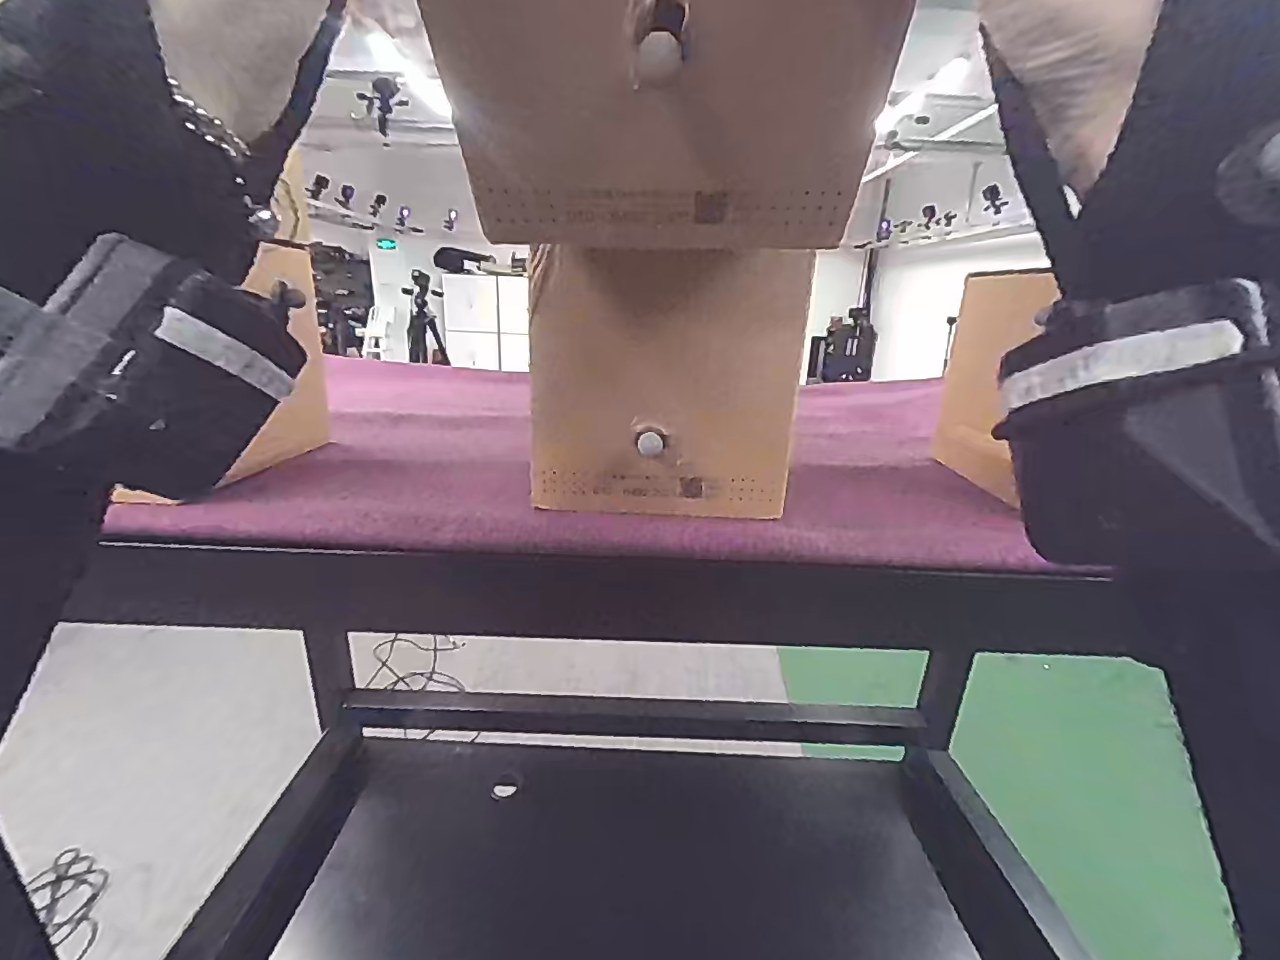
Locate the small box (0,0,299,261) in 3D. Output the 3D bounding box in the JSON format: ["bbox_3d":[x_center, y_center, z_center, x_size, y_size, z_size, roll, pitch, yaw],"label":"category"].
[{"bbox_3d":[-0.352,-0.233,0.345,0.168,0.176,0.179,2,19,2],"label":"small box"}]

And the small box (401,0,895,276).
[{"bbox_3d":[0.010,-0.208,0.234,0.168,0.176,0.179,2,57,5],"label":"small box"}]

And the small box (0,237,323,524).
[{"bbox_3d":[-0.361,-0.079,0.396,0.168,0.176,0.179,2,18,0],"label":"small box"}]

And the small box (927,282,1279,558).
[{"bbox_3d":[0.351,-0.057,0.417,0.168,0.176,0.179,2,20,2],"label":"small box"}]

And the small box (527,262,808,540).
[{"bbox_3d":[0.014,-0.069,0.413,0.168,0.176,0.179,2,20,0],"label":"small box"}]
